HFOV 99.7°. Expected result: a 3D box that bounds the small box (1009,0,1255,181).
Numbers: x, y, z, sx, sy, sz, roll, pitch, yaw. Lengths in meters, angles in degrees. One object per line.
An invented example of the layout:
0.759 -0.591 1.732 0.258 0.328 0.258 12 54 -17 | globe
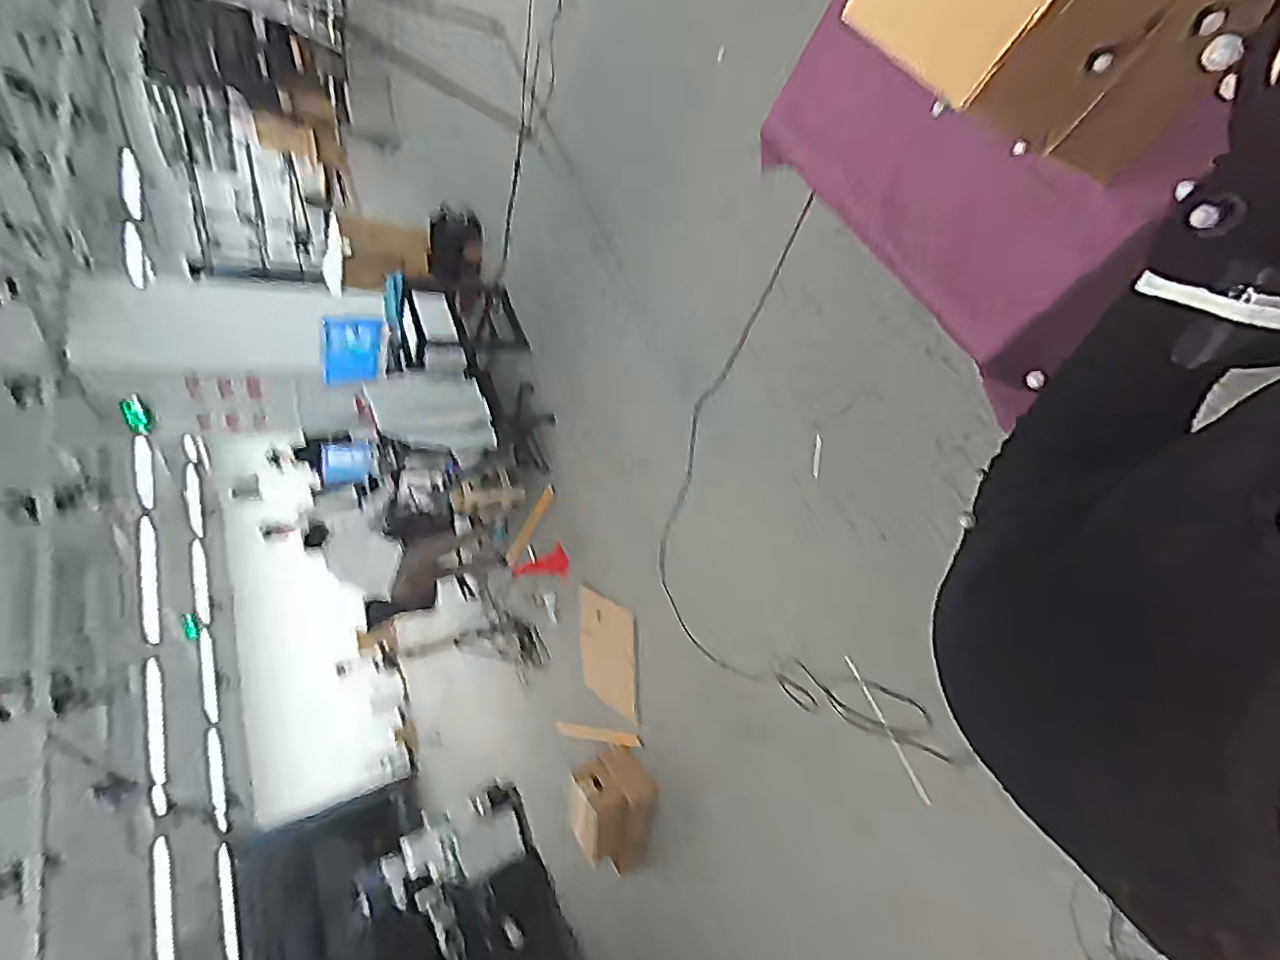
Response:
0.460 -0.446 0.554 0.168 0.176 0.179 64 142 25 | small box

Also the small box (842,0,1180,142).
0.323 -0.429 0.467 0.179 0.176 0.168 62 141 24 | small box
